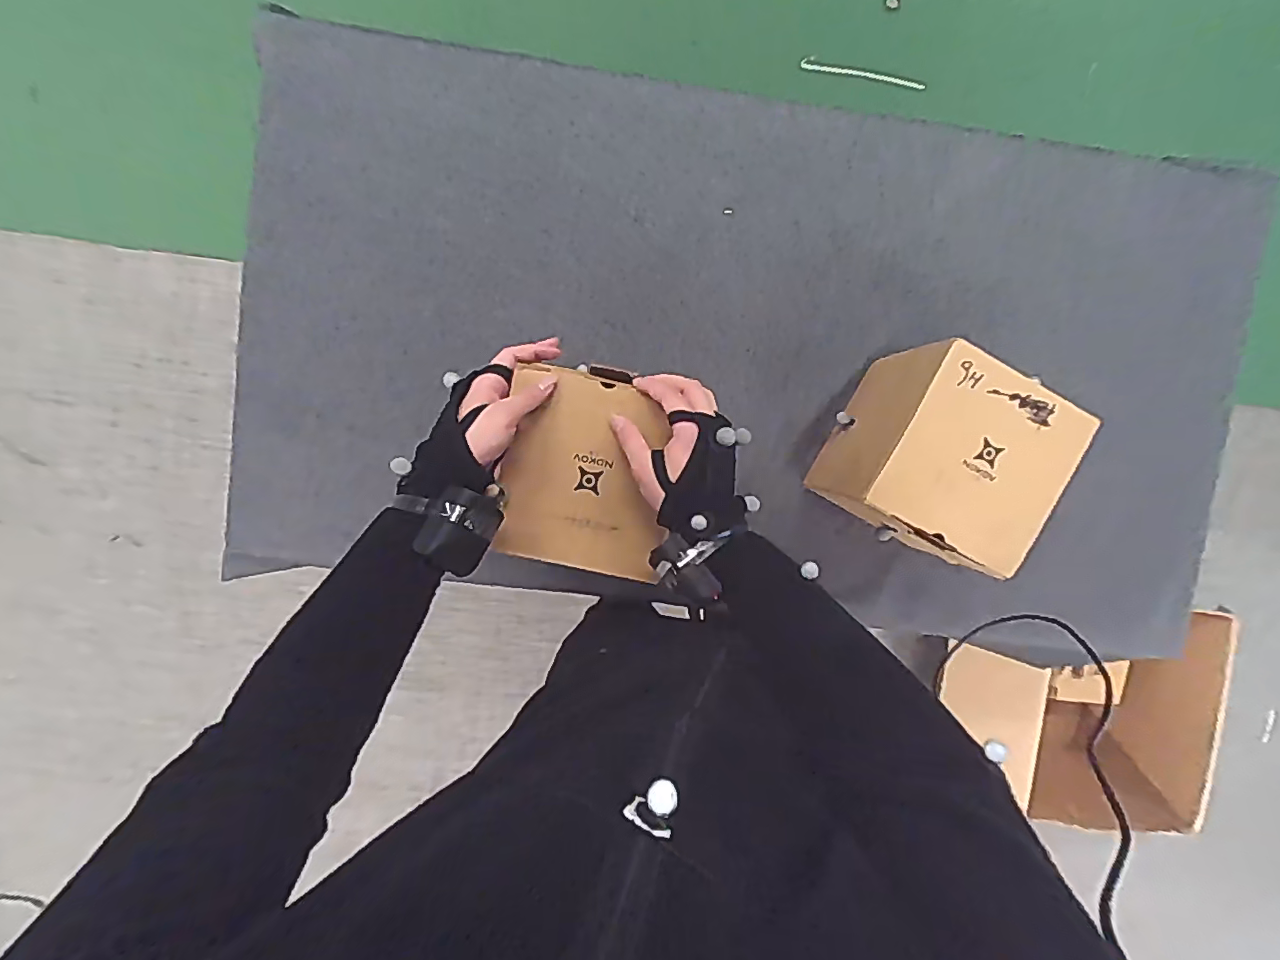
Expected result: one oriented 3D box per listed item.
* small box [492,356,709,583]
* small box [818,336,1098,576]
[{"bbox_3d":[-0.038,-0.014,0.559,0.168,0.176,0.179,12,95,-2],"label":"small box"},{"bbox_3d":[0.319,-0.027,0.589,0.168,0.176,0.179,30,94,-4],"label":"small box"}]
